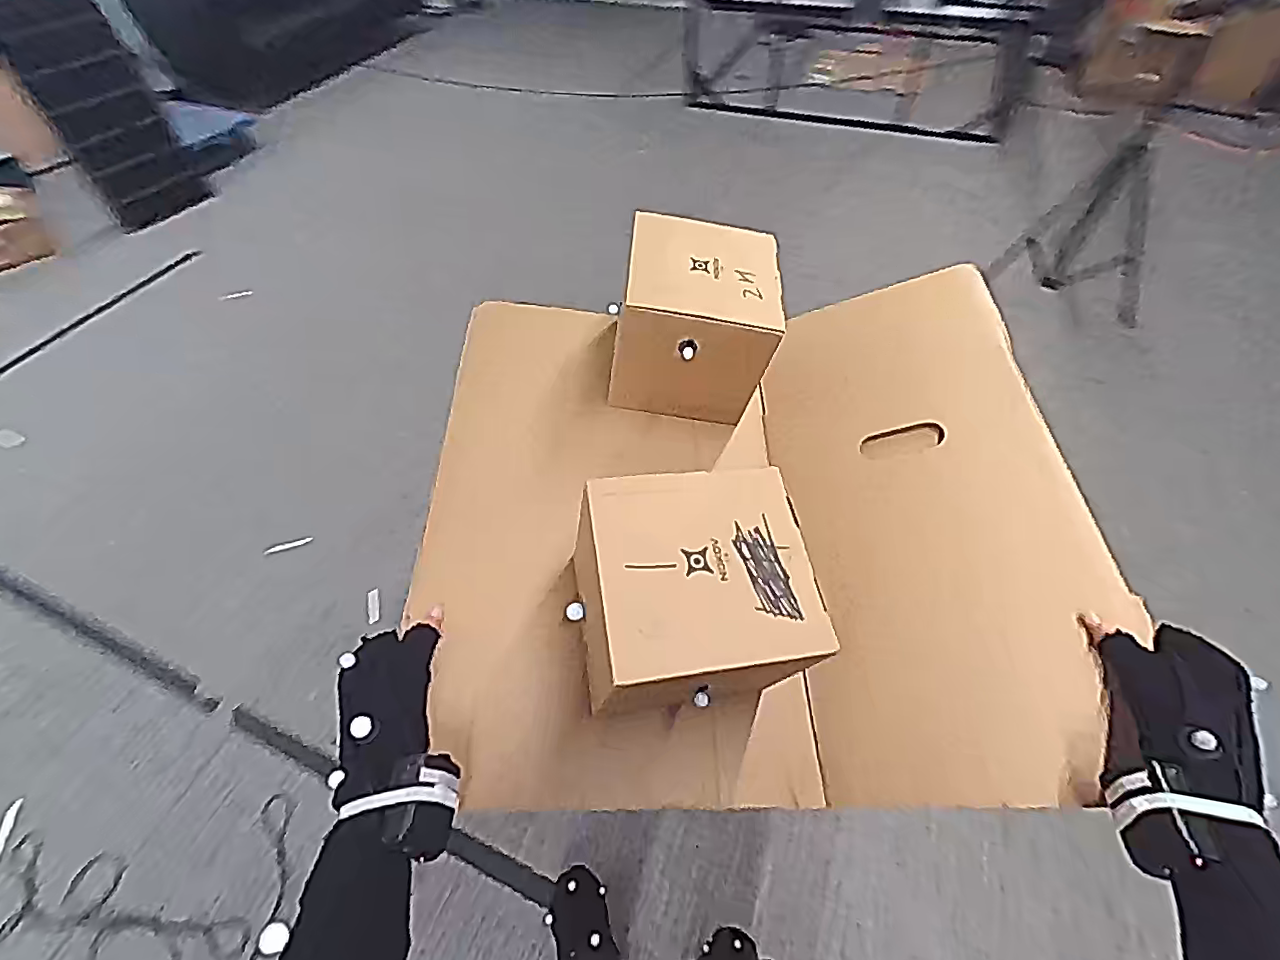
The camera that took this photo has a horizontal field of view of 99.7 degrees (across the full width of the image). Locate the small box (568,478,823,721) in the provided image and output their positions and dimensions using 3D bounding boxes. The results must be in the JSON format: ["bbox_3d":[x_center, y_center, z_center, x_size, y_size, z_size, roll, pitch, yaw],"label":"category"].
[{"bbox_3d":[0.032,0.114,0.502,0.179,0.176,0.168,-5,60,-13],"label":"small box"}]
